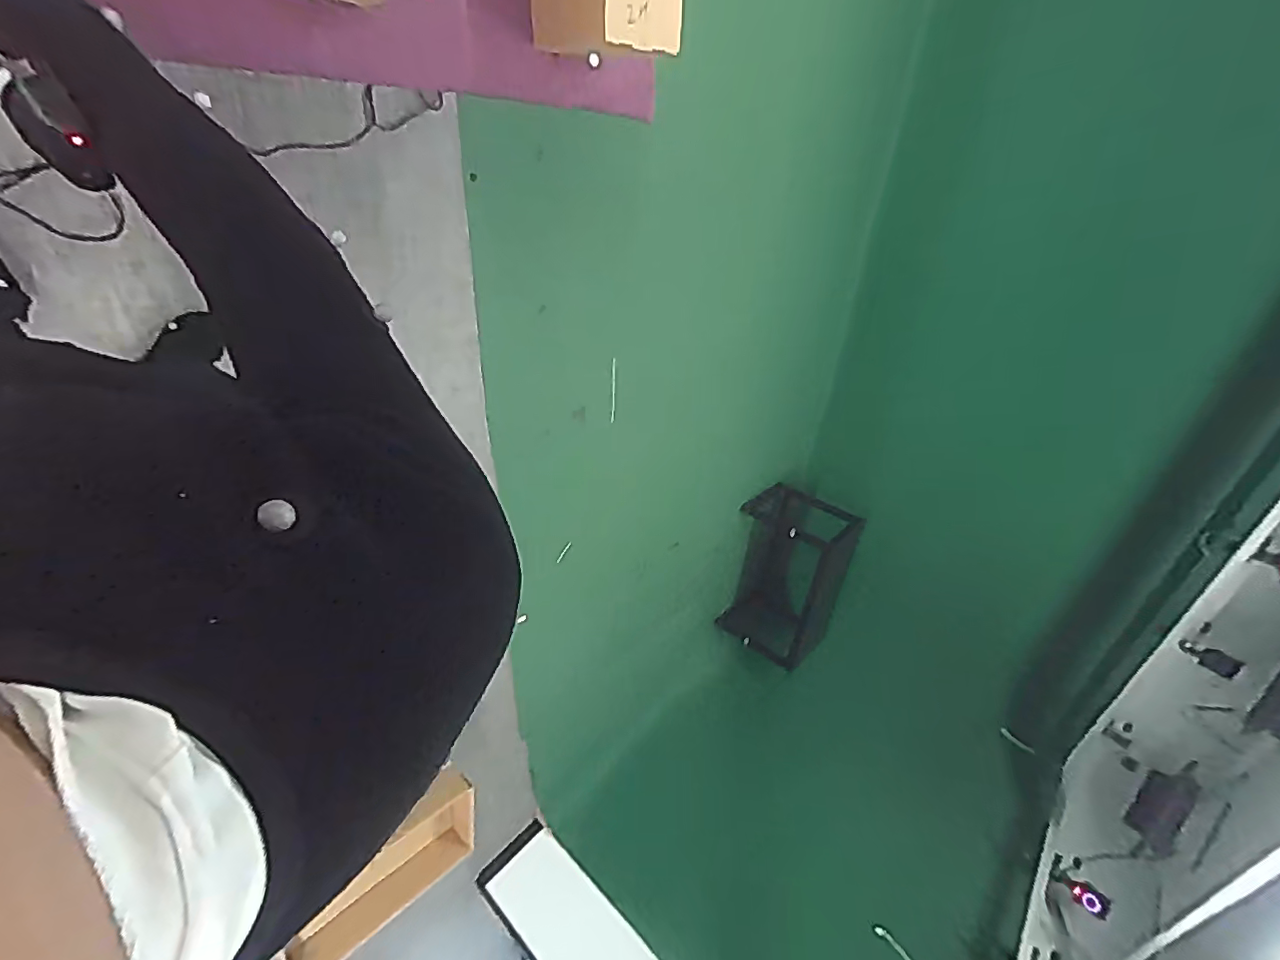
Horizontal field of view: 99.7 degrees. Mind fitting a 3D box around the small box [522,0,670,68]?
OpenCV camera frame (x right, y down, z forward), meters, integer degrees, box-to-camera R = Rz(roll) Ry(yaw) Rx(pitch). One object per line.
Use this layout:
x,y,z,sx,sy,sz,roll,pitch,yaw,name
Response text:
-0.069,-0.751,0.828,0.168,0.176,0.179,-29,135,-39,small box
